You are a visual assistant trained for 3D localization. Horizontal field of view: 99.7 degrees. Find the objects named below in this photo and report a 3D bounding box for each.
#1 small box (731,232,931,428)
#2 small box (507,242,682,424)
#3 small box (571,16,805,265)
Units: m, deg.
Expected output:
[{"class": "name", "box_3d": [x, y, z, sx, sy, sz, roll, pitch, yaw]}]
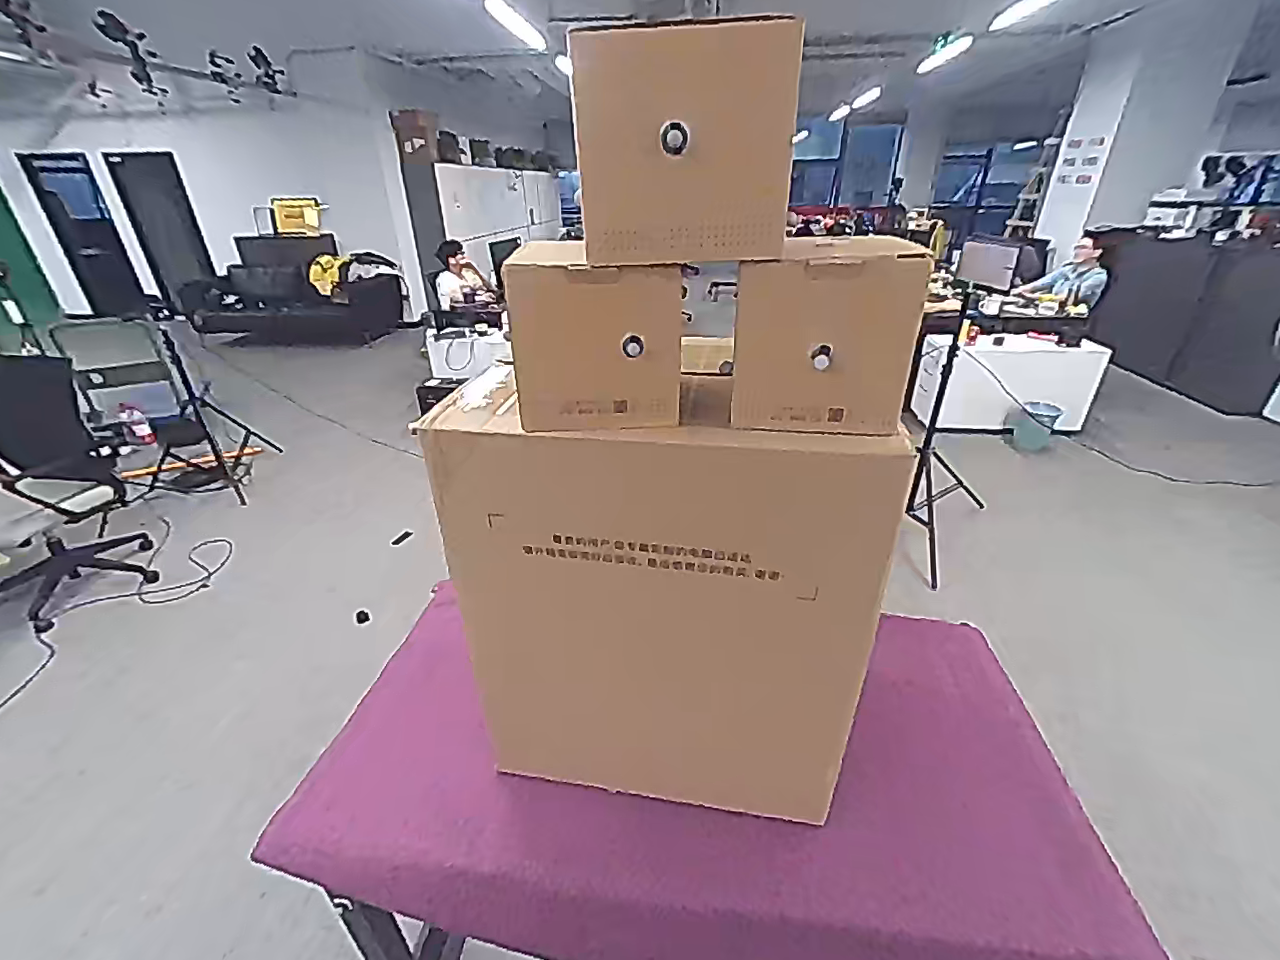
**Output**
[{"class": "small box", "box_3d": [0.188, -0.165, 0.584, 0.168, 0.176, 0.179, 4, 30, 10]}, {"class": "small box", "box_3d": [-0.044, -0.168, 0.605, 0.168, 0.176, 0.179, -1, 29, -3]}, {"class": "small box", "box_3d": [0.041, -0.304, 0.506, 0.179, 0.176, 0.168, -2, 30, 3]}]
